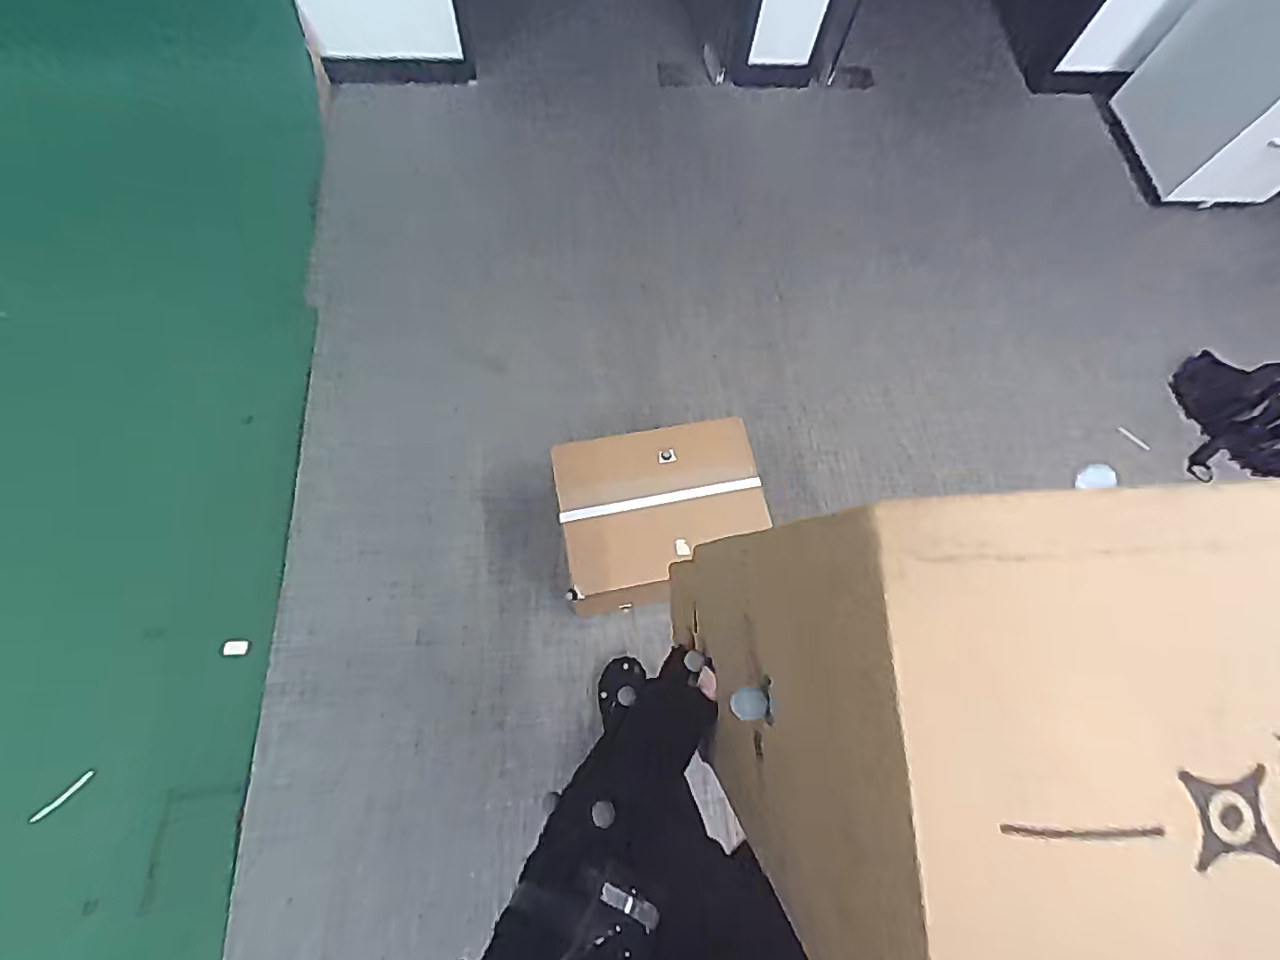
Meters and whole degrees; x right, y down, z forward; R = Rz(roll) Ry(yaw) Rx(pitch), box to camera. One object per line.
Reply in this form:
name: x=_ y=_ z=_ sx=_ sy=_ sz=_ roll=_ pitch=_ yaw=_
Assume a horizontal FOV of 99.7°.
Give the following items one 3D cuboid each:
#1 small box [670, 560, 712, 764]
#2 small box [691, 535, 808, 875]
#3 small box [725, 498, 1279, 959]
small box: x=0.124 y=0.160 z=0.532 sx=0.179 sy=0.176 sz=0.168 roll=-3 pitch=81 yaw=-4
small box: x=0.131 y=0.127 z=0.373 sx=0.168 sy=0.176 sz=0.179 roll=-3 pitch=81 yaw=-3
small box: x=0.144 y=0.098 z=0.211 sx=0.179 sy=0.176 sz=0.168 roll=-5 pitch=81 yaw=-5
